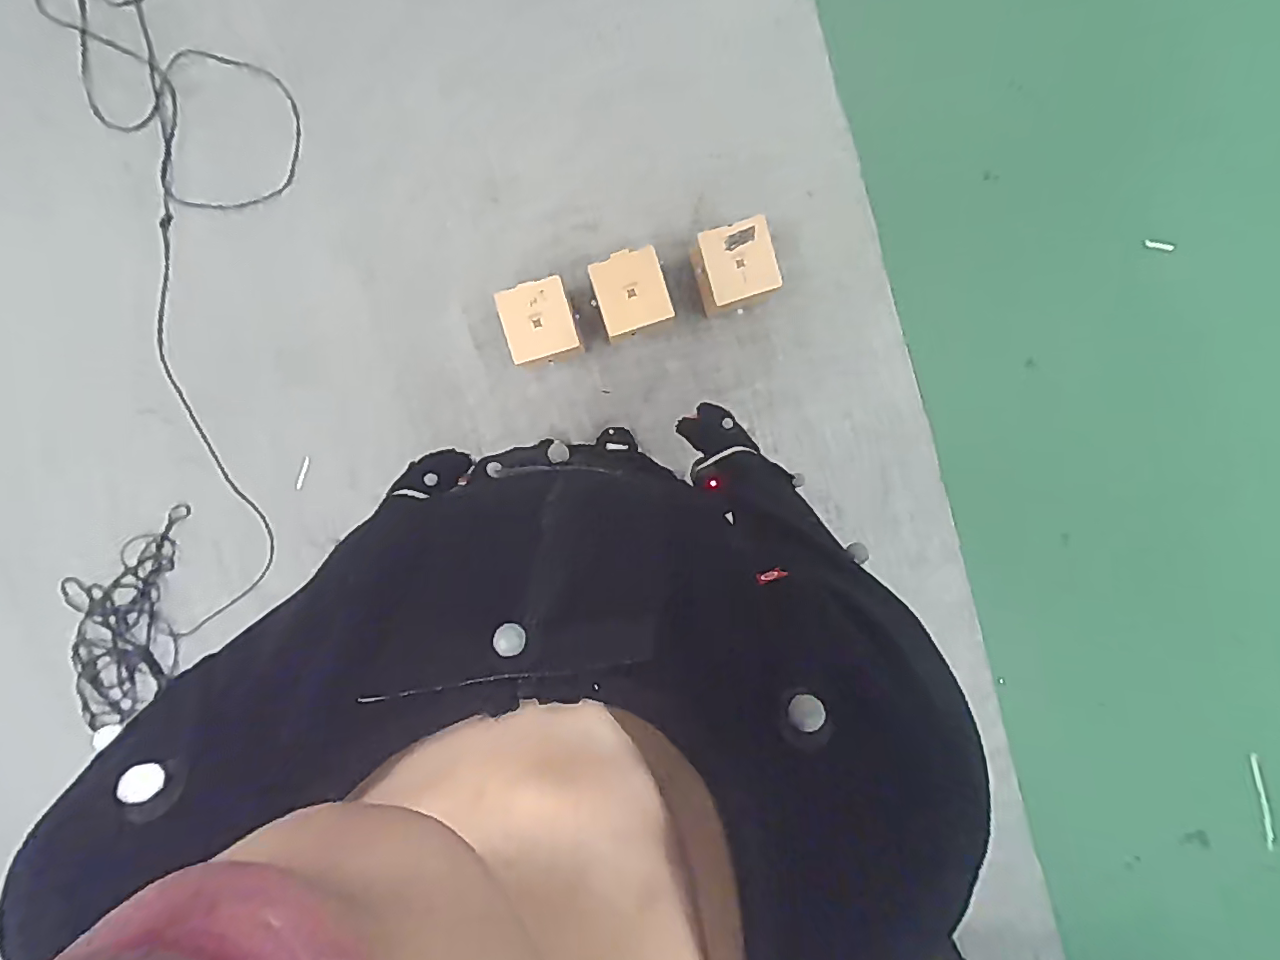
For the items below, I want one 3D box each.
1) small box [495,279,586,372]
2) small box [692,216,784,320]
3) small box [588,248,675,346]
[{"bbox_3d":[-0.240,-0.376,1.355,0.168,0.176,0.179,-16,95,1],"label":"small box"},{"bbox_3d":[0.235,-0.517,1.342,0.168,0.176,0.179,-18,96,2],"label":"small box"},{"bbox_3d":[-0.018,-0.445,1.350,0.168,0.176,0.179,-18,95,1],"label":"small box"}]
